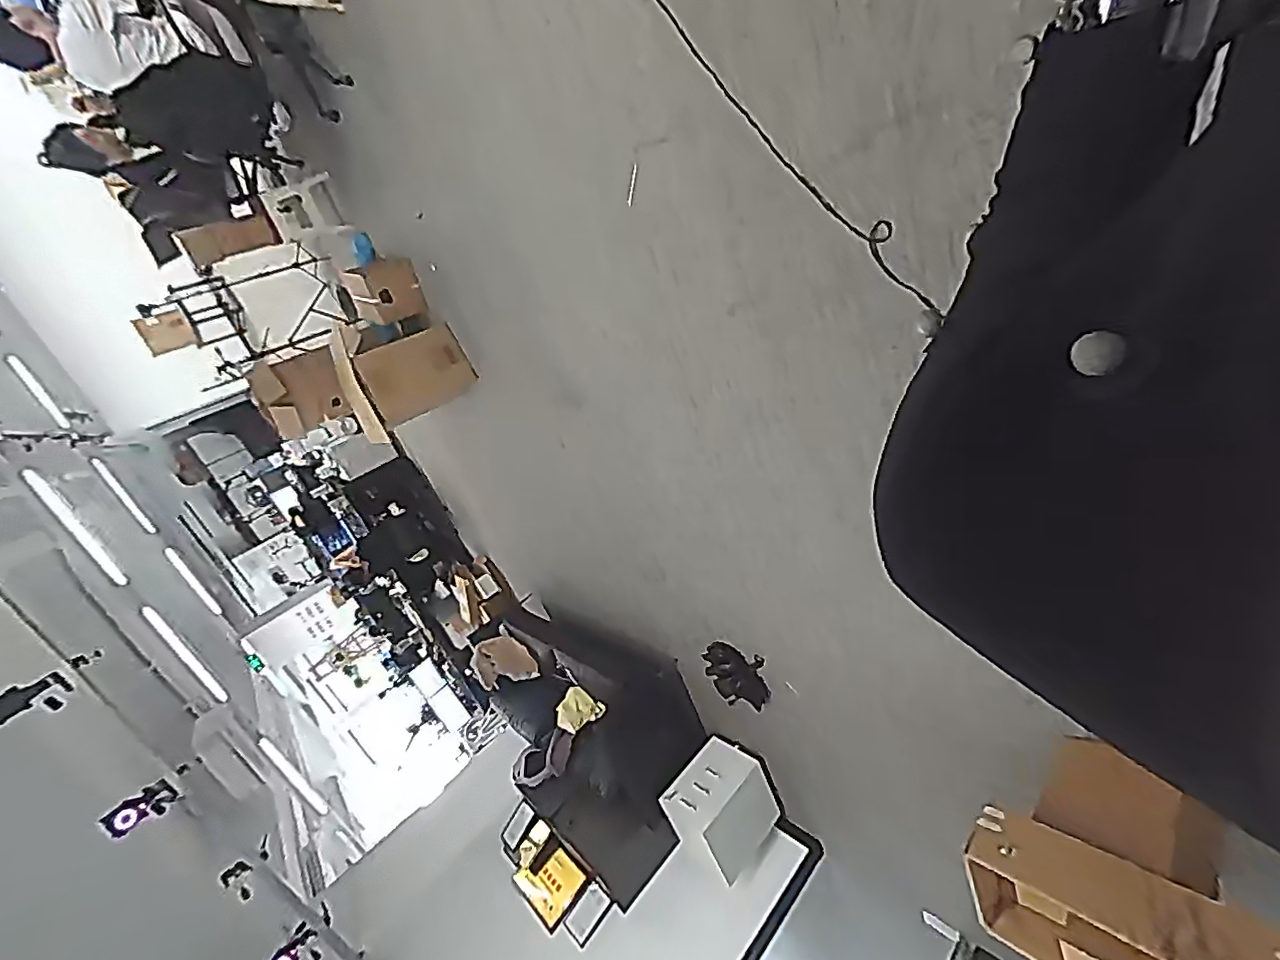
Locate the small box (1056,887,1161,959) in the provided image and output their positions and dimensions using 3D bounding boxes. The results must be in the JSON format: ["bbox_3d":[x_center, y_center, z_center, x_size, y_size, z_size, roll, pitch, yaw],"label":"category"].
[{"bbox_3d":[1.188,1.196,1.367,0.168,0.176,0.179,-2,119,53],"label":"small box"}]
